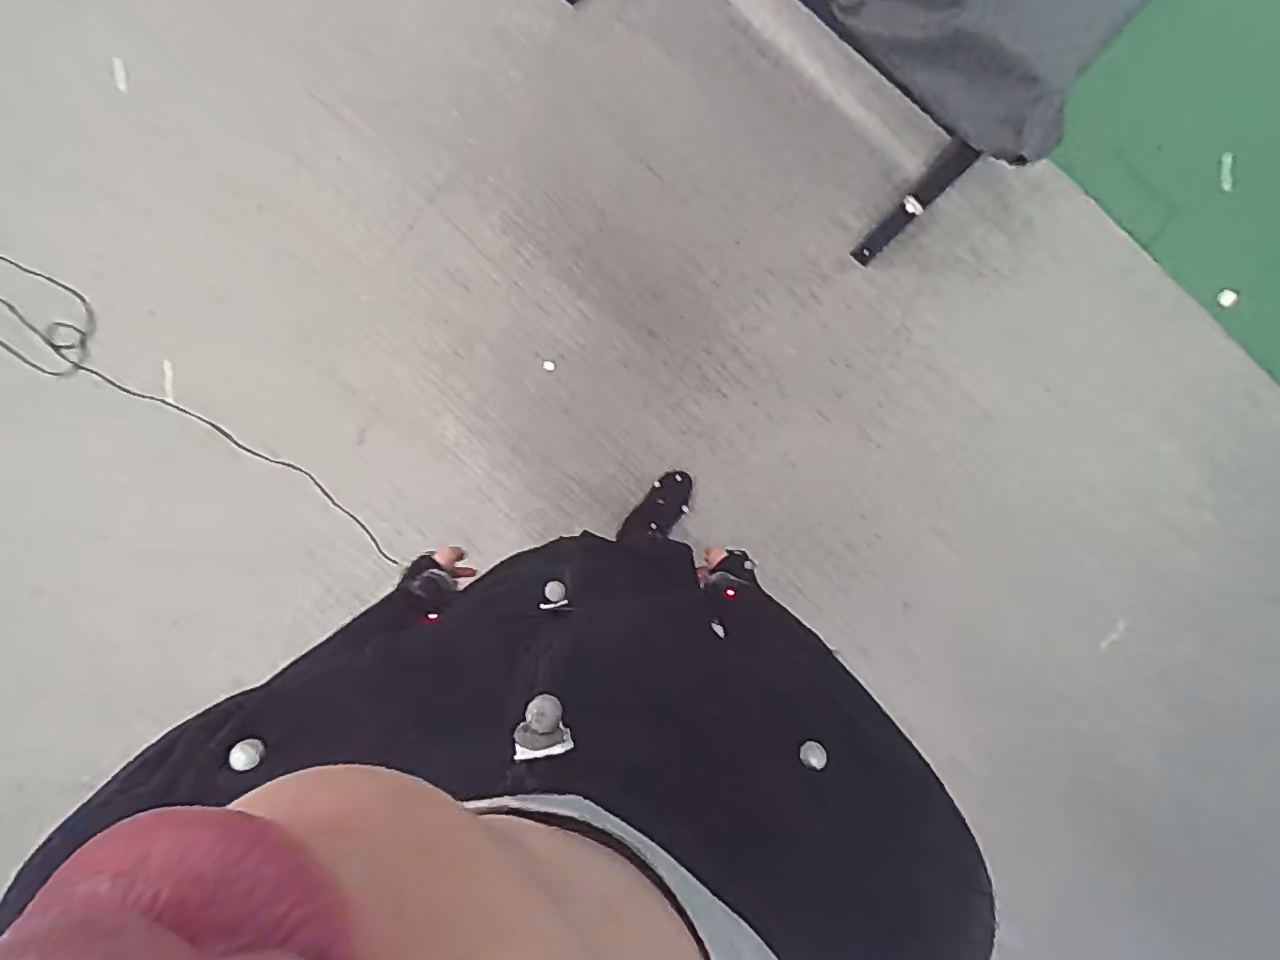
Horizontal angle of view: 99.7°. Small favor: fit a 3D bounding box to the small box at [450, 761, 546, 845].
[{"bbox_3d":[-0.371,0.911,1.459,0.168,0.176,0.179,40,87,-2],"label":"small box"}]
